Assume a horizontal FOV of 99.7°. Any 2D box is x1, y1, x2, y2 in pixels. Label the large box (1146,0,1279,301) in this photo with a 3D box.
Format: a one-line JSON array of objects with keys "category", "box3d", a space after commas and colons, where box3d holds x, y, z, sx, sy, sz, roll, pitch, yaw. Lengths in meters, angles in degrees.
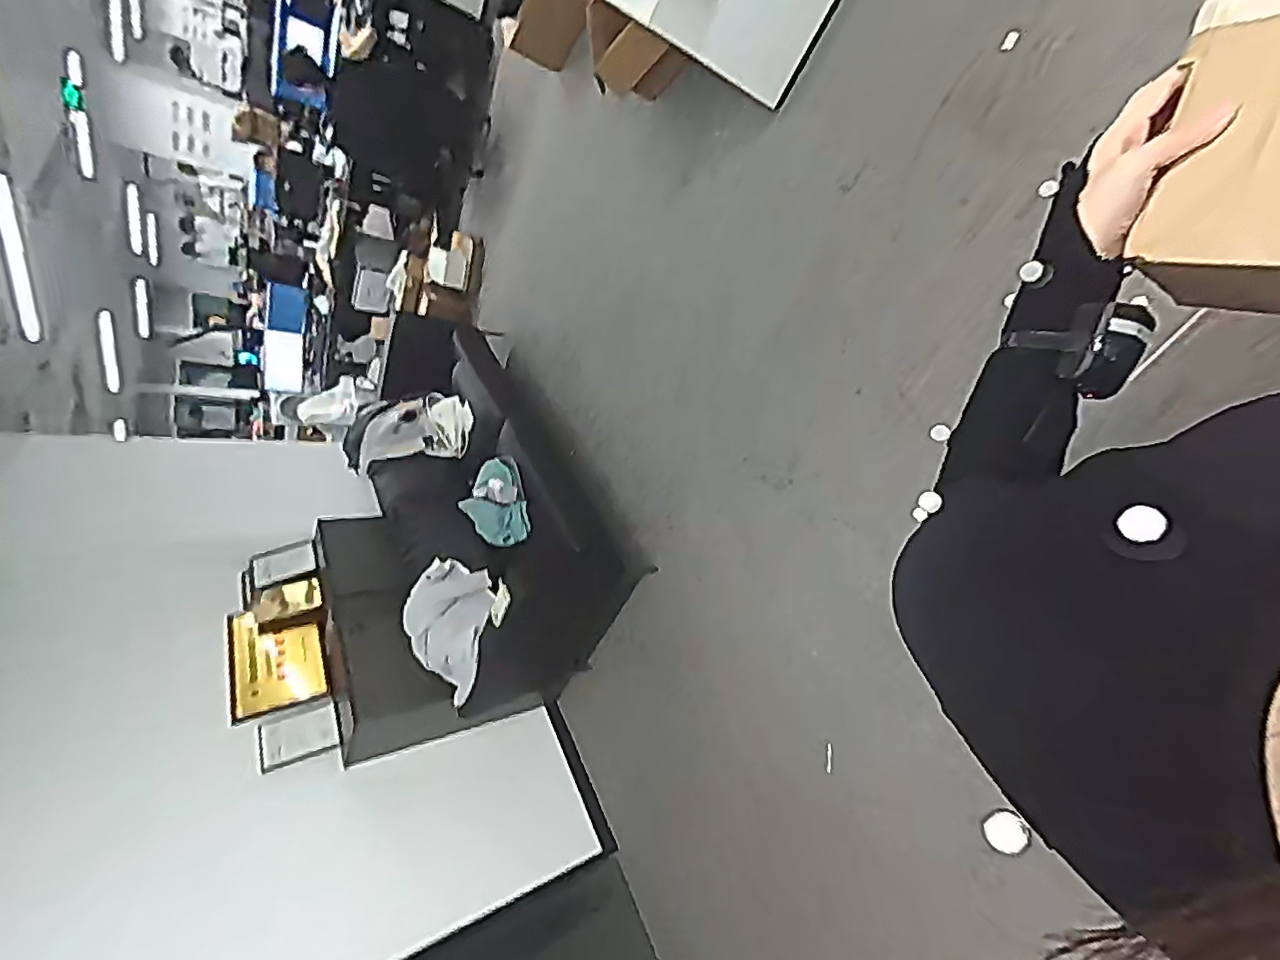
[{"category": "large box", "box3d": [0.631, -0.274, 0.316, 0.408, 0.320, 0.320, 27, 116, 44]}]
